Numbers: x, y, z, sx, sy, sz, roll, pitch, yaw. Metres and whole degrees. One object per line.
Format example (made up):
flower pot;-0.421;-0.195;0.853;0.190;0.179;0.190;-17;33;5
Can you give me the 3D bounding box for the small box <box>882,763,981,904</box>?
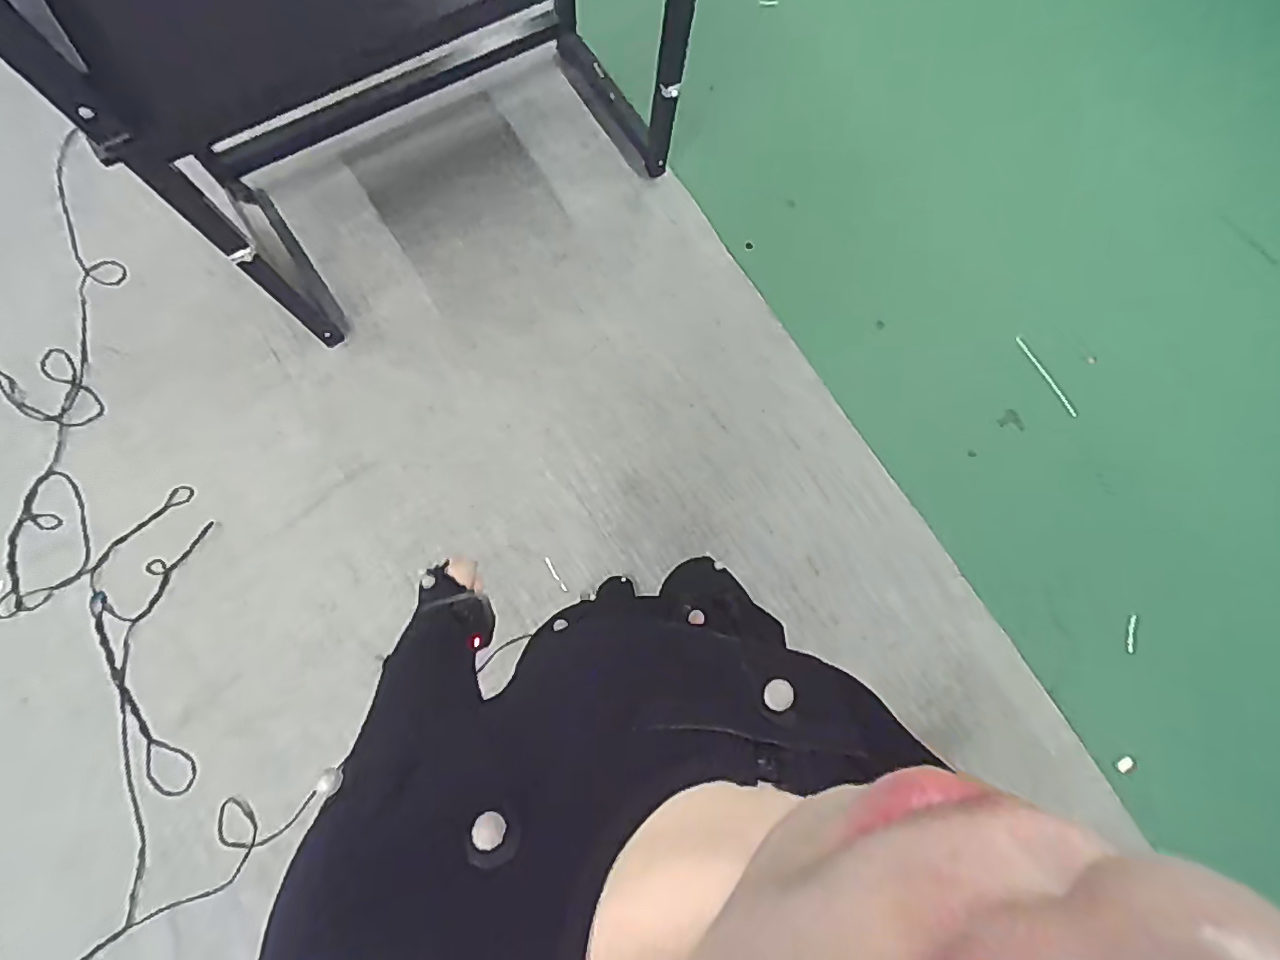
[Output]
small box;0.687;0.775;1.209;0.168;0.176;0.179;-31;82;-11
